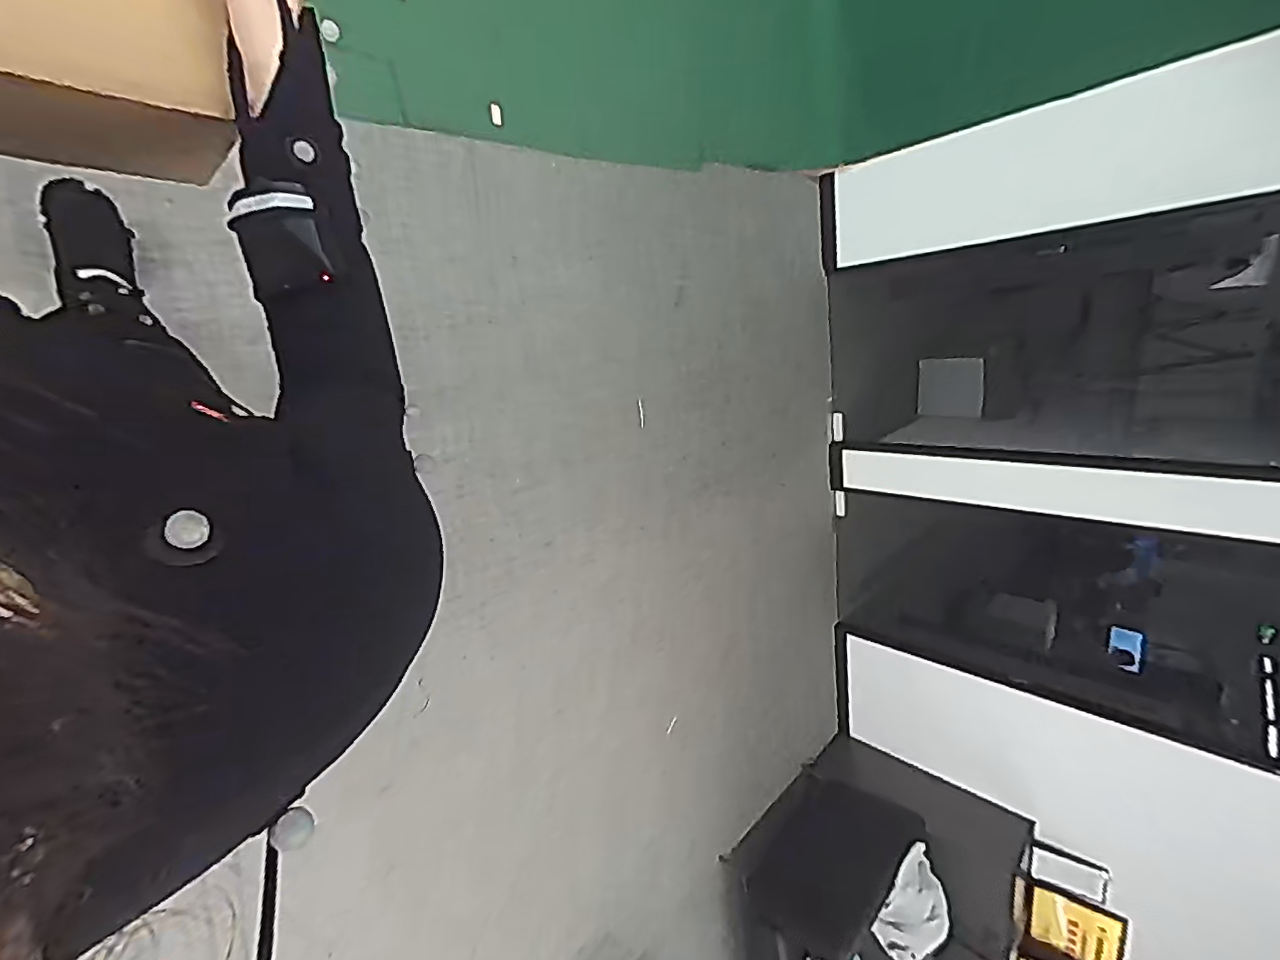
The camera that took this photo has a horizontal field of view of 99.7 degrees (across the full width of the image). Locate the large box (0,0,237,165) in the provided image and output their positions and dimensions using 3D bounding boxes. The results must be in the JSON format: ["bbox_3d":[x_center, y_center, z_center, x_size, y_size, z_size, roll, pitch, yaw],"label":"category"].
[{"bbox_3d":[-0.531,-0.415,0.327,0.408,0.320,0.320,-12,112,-39],"label":"large box"}]
